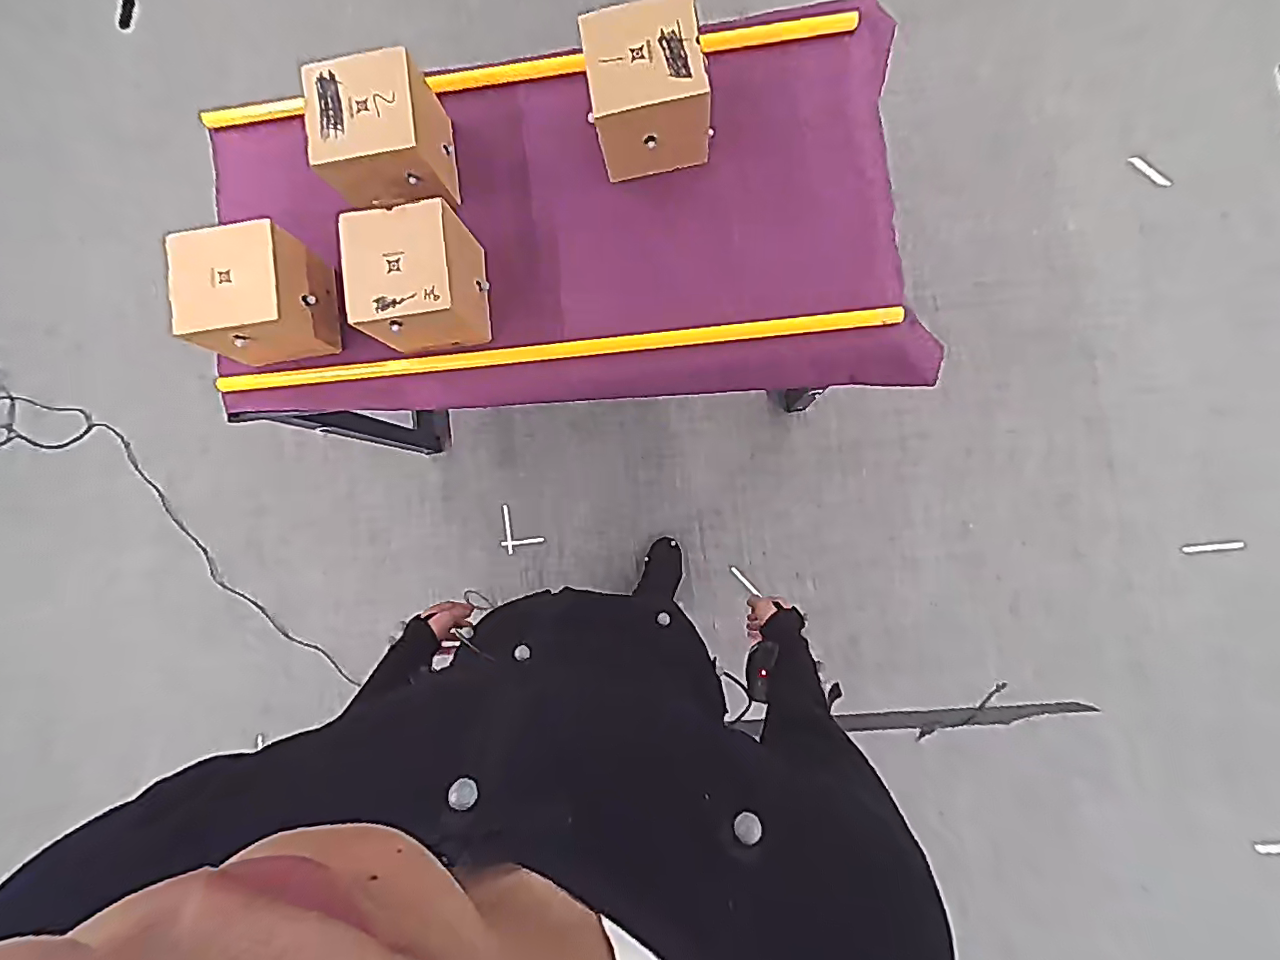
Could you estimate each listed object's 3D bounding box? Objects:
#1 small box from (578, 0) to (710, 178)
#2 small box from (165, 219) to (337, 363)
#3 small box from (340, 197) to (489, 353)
[{"bbox_3d":[0.012,-0.621,0.865,0.179,0.176,0.168,-9,87,6],"label":"small box"},{"bbox_3d":[-0.639,-0.308,0.911,0.179,0.176,0.168,-8,86,4],"label":"small box"},{"bbox_3d":[-0.359,-0.324,0.885,0.168,0.176,0.179,-6,86,6],"label":"small box"}]
